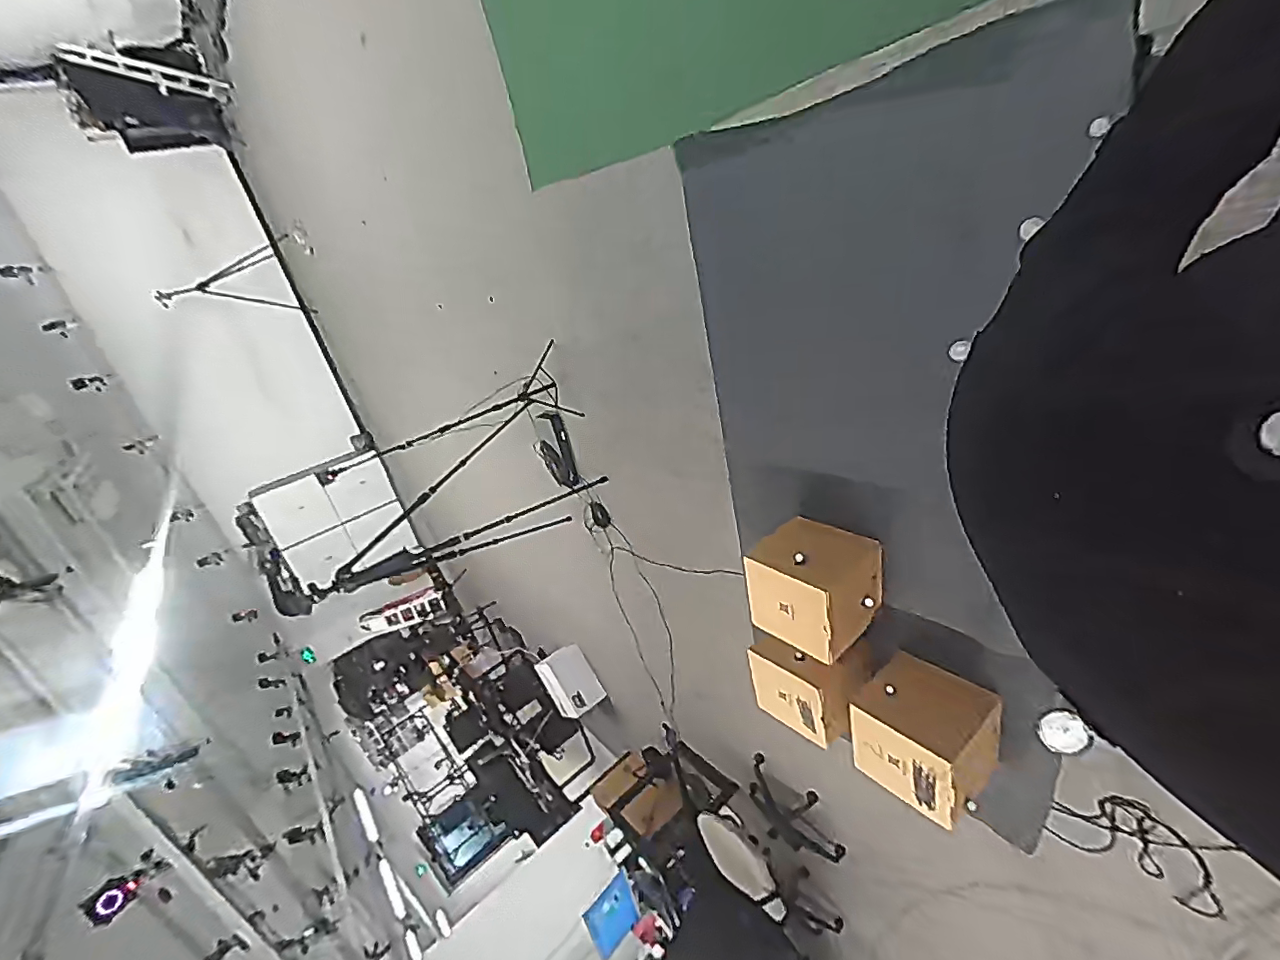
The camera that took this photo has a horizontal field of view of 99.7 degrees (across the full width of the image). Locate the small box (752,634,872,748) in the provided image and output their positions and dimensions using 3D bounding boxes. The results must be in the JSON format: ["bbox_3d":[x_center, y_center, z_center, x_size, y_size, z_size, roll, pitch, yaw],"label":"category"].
[{"bbox_3d":[0.363,0.401,1.120,0.179,0.176,0.168,17,128,50],"label":"small box"}]

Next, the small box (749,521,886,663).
[{"bbox_3d":[0.330,0.194,1.003,0.179,0.176,0.168,19,130,48],"label":"small box"}]
